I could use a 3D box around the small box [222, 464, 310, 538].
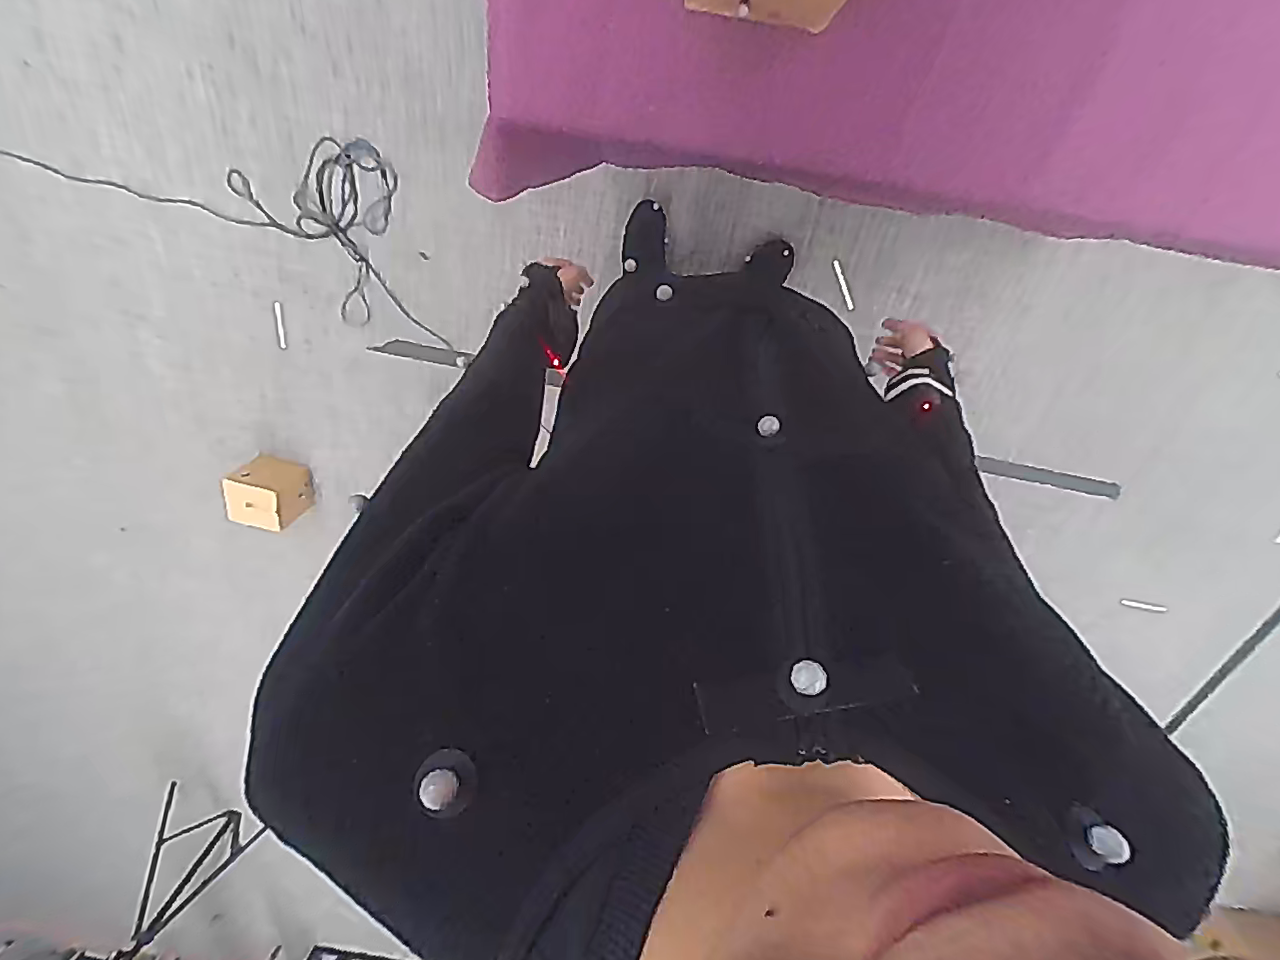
[{"bbox_3d":[-1.245,0.065,1.811,0.179,0.176,0.168,14,119,-2],"label":"small box"}]

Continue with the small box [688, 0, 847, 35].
[{"bbox_3d":[0.136,-0.573,0.524,0.168,0.176,0.179,10,119,0],"label":"small box"}]
